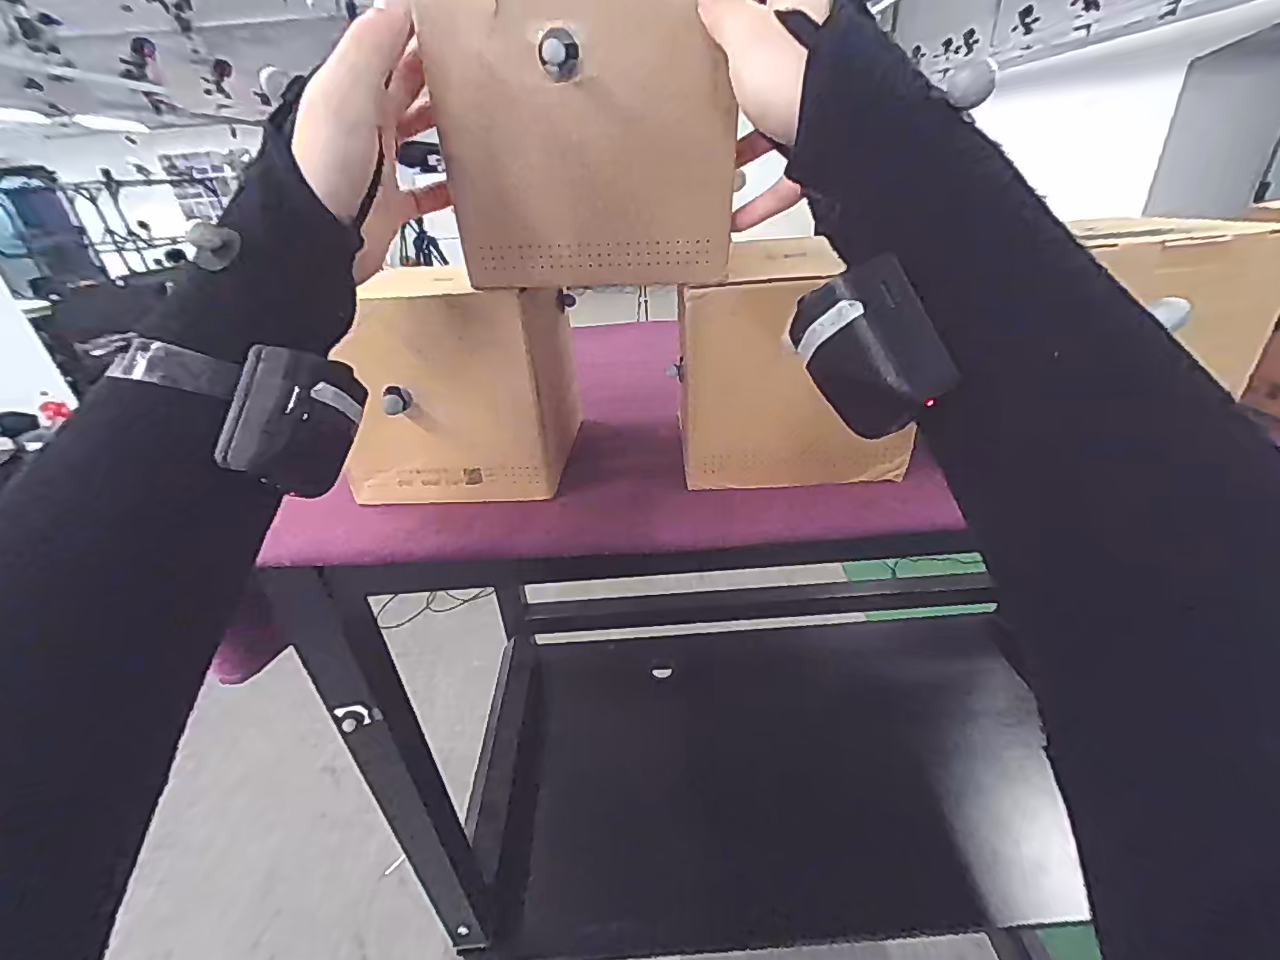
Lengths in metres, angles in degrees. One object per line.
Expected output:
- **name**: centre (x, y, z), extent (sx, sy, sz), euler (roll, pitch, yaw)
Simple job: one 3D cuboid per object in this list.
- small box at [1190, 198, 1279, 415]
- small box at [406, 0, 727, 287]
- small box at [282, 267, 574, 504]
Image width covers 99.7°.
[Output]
- **small box**: centre (0.641, -0.150, 0.464), extent (0.179, 0.176, 0.168), euler (-3, 30, 4)
- **small box**: centre (-0.034, -0.241, 0.380), extent (0.179, 0.176, 0.168), euler (-1, 36, 2)
- **small box**: centre (-0.157, -0.088, 0.476), extent (0.168, 0.176, 0.179), euler (-2, 28, 4)
